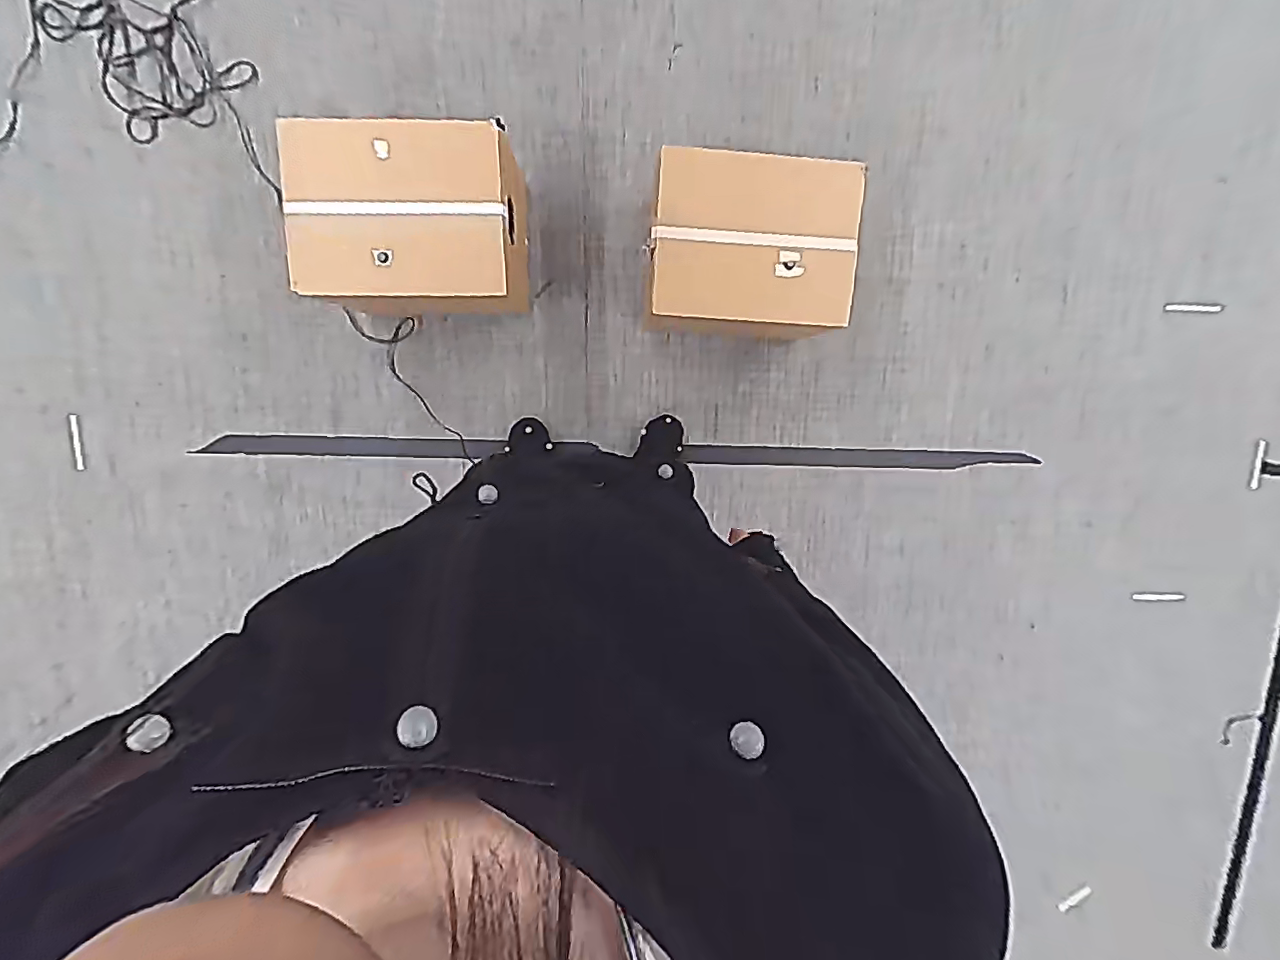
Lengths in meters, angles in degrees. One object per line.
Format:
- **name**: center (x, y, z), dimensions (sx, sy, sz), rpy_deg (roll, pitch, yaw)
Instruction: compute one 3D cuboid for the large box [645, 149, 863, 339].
- **large box**: center (0.224, -0.500, 1.219), dimensions (0.408, 0.320, 0.320), rpy_deg (3, 99, -4)
